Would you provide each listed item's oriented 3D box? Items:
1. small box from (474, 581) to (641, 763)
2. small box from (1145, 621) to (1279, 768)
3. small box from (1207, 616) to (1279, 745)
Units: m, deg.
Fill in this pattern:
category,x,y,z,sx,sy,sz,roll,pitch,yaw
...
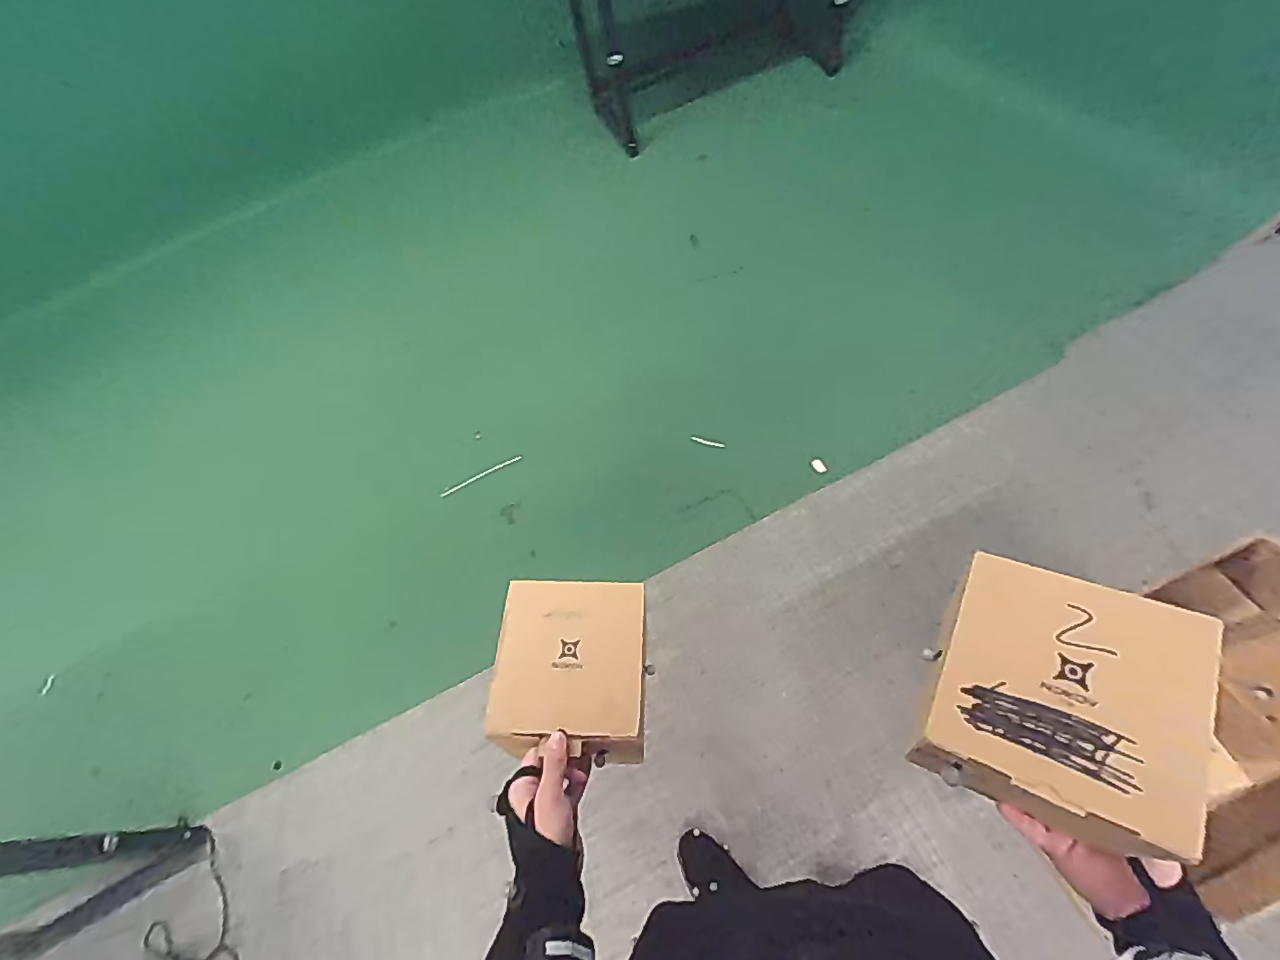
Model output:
category,x,y,z,sx,sy,sz,roll,pitch,yaw
small box,-0.086,0.241,0.668,0.168,0.176,0.179,1,54,2
small box,0.994,0.343,0.871,0.179,0.176,0.168,-26,58,-2
small box,0.960,0.266,0.733,0.179,0.176,0.168,-26,59,-2
